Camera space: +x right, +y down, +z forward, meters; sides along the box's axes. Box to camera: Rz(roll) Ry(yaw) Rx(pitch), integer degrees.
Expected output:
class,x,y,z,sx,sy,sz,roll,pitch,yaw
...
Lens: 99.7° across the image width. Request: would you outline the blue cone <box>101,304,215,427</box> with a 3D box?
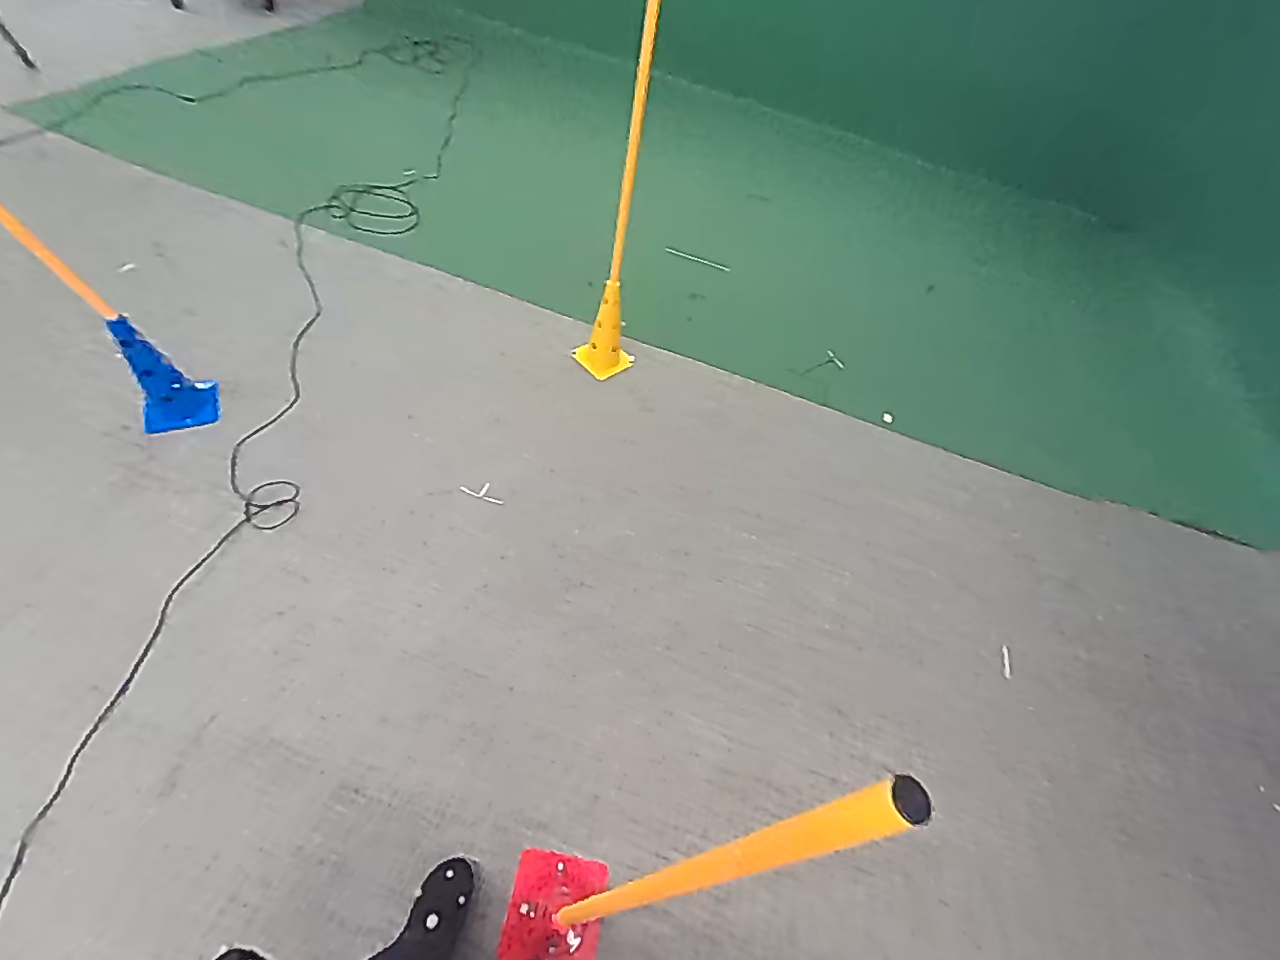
class,x,y,z,sx,sy,sz,roll,pitch,yaw
blue cone,-1.450,-0.347,1.597,0.193,0.380,0.192,-18,60,-21
